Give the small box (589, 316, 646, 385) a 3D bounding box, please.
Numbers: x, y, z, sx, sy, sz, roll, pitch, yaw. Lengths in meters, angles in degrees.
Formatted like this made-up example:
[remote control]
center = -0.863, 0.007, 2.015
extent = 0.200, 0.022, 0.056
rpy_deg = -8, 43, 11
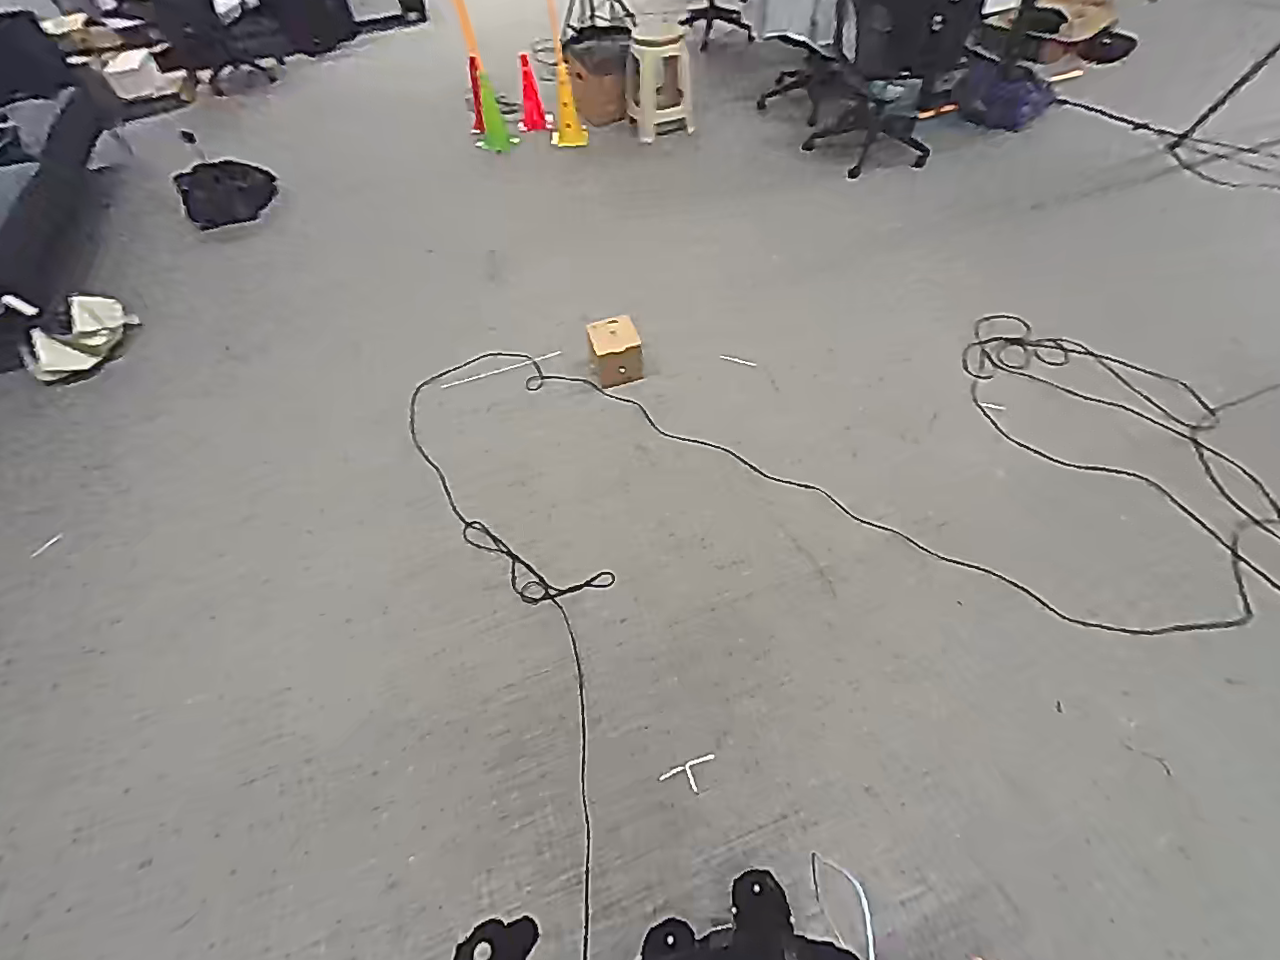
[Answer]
[small box]
center = -0.080, -0.472, 2.002
extent = 0.168, 0.176, 0.179
rpy_deg = -15, 57, -7
